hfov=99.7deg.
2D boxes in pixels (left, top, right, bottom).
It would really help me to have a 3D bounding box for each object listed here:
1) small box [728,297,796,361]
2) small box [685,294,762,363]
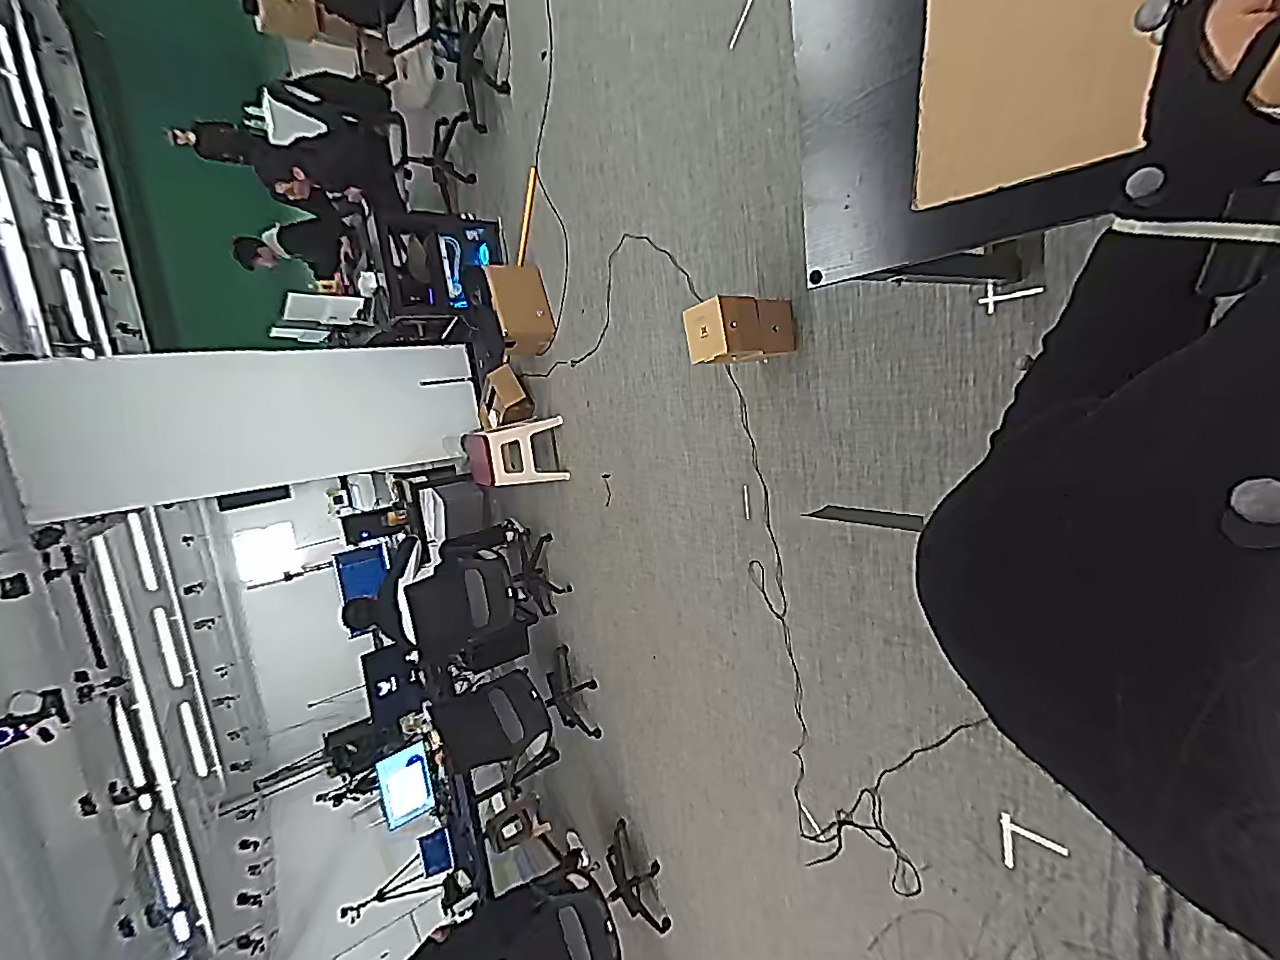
[{"bbox_3d":[0.400,-0.503,1.811,0.168,0.176,0.179,0,101,54],"label":"small box"},{"bbox_3d":[0.269,-0.479,1.719,0.168,0.176,0.179,-6,95,54],"label":"small box"}]
